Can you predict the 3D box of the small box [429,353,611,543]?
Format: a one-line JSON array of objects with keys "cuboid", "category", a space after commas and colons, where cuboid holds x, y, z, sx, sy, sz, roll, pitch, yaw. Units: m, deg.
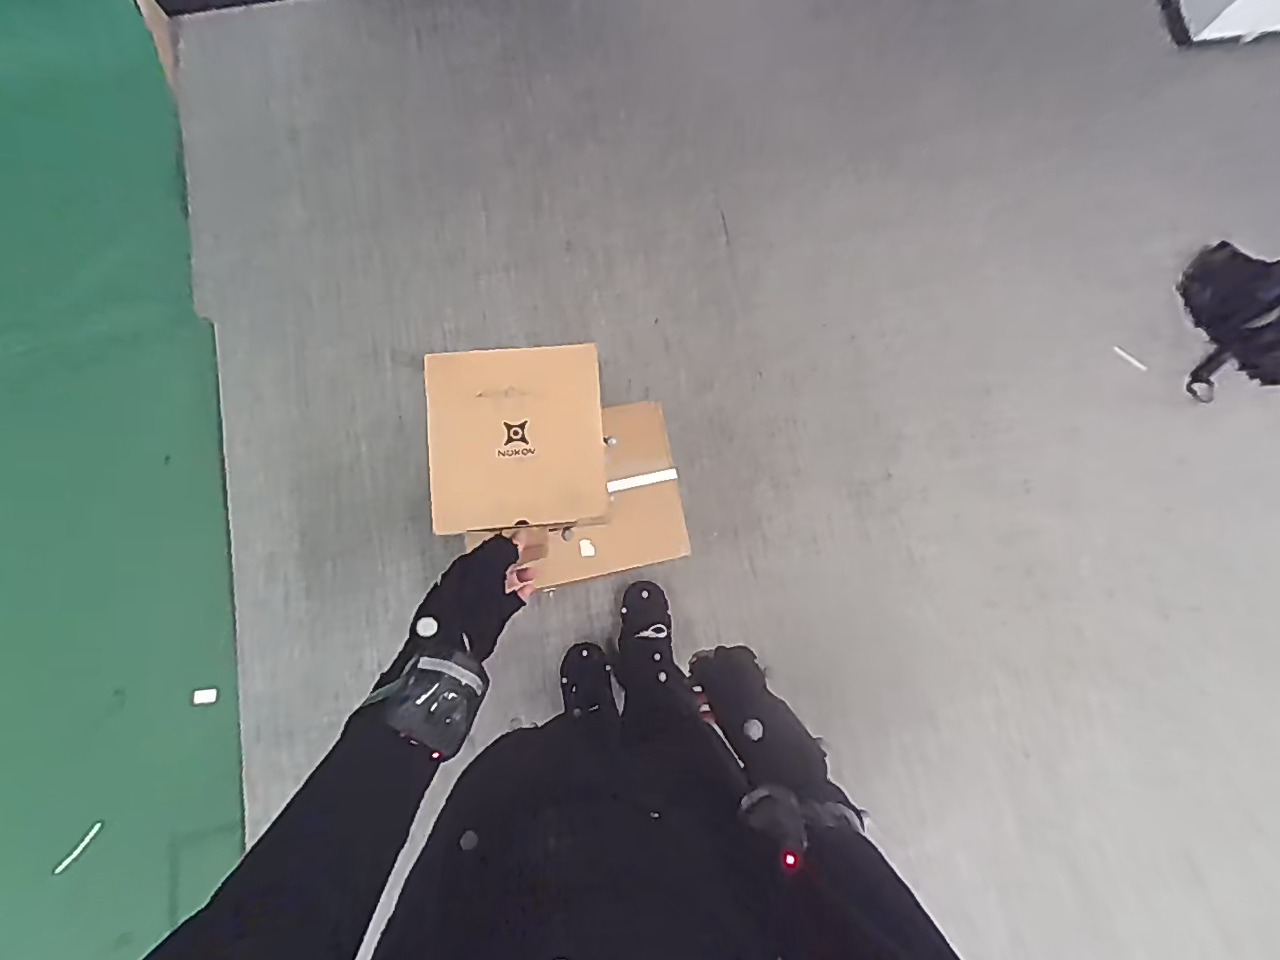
[{"cuboid": [-0.121, -0.026, 0.600, 0.168, 0.176, 0.179, -5, 84, -4], "category": "small box"}]
